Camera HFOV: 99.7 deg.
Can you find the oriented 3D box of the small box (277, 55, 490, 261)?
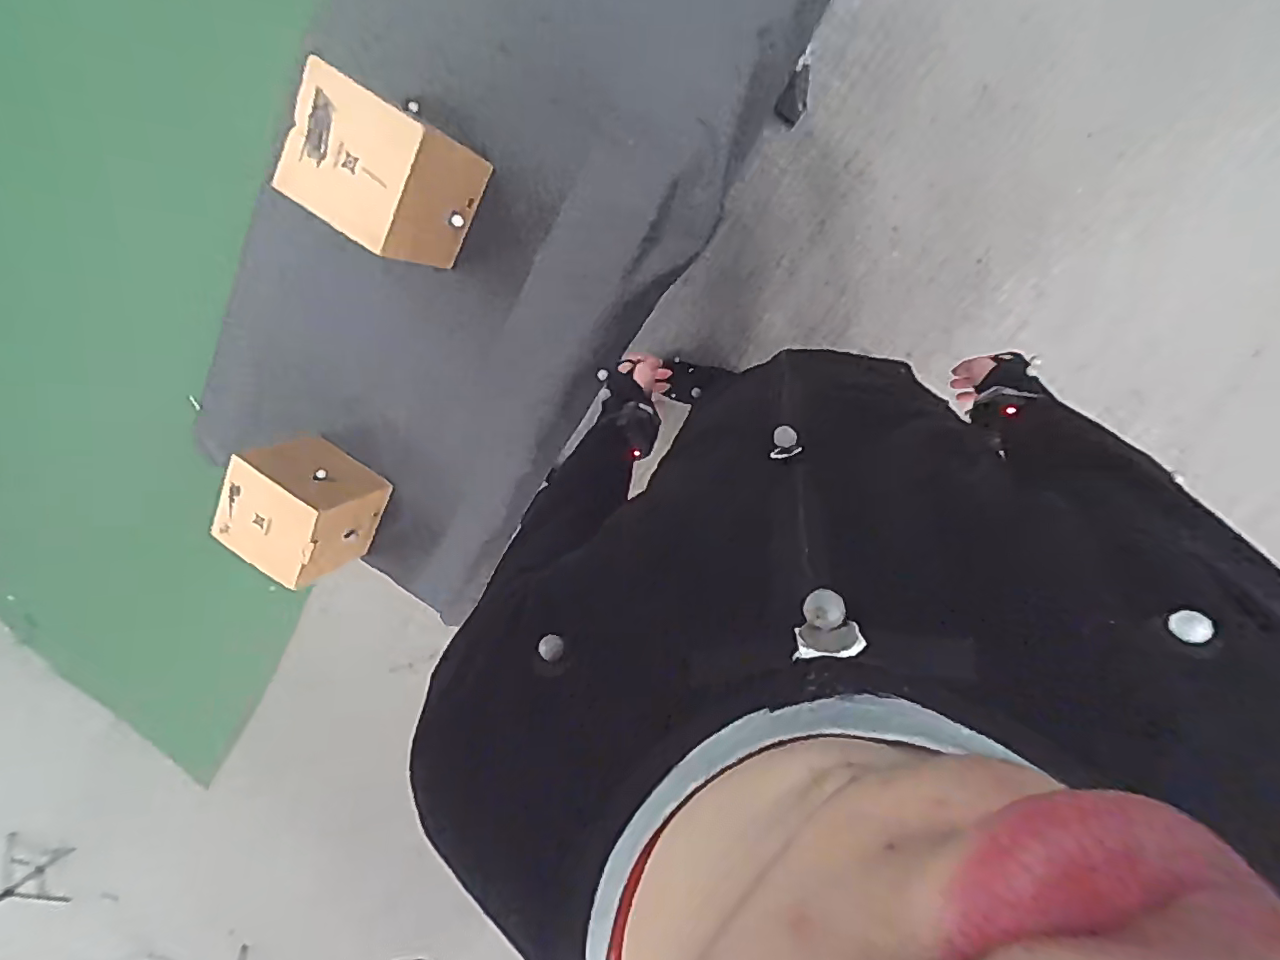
[{"bbox_3d":[-0.344,-0.424,0.750,0.179,0.176,0.168,34,111,1],"label":"small box"}]

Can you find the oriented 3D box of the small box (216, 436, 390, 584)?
[{"bbox_3d":[-0.575,0.041,0.939,0.179,0.176,0.168,32,110,3],"label":"small box"}]
